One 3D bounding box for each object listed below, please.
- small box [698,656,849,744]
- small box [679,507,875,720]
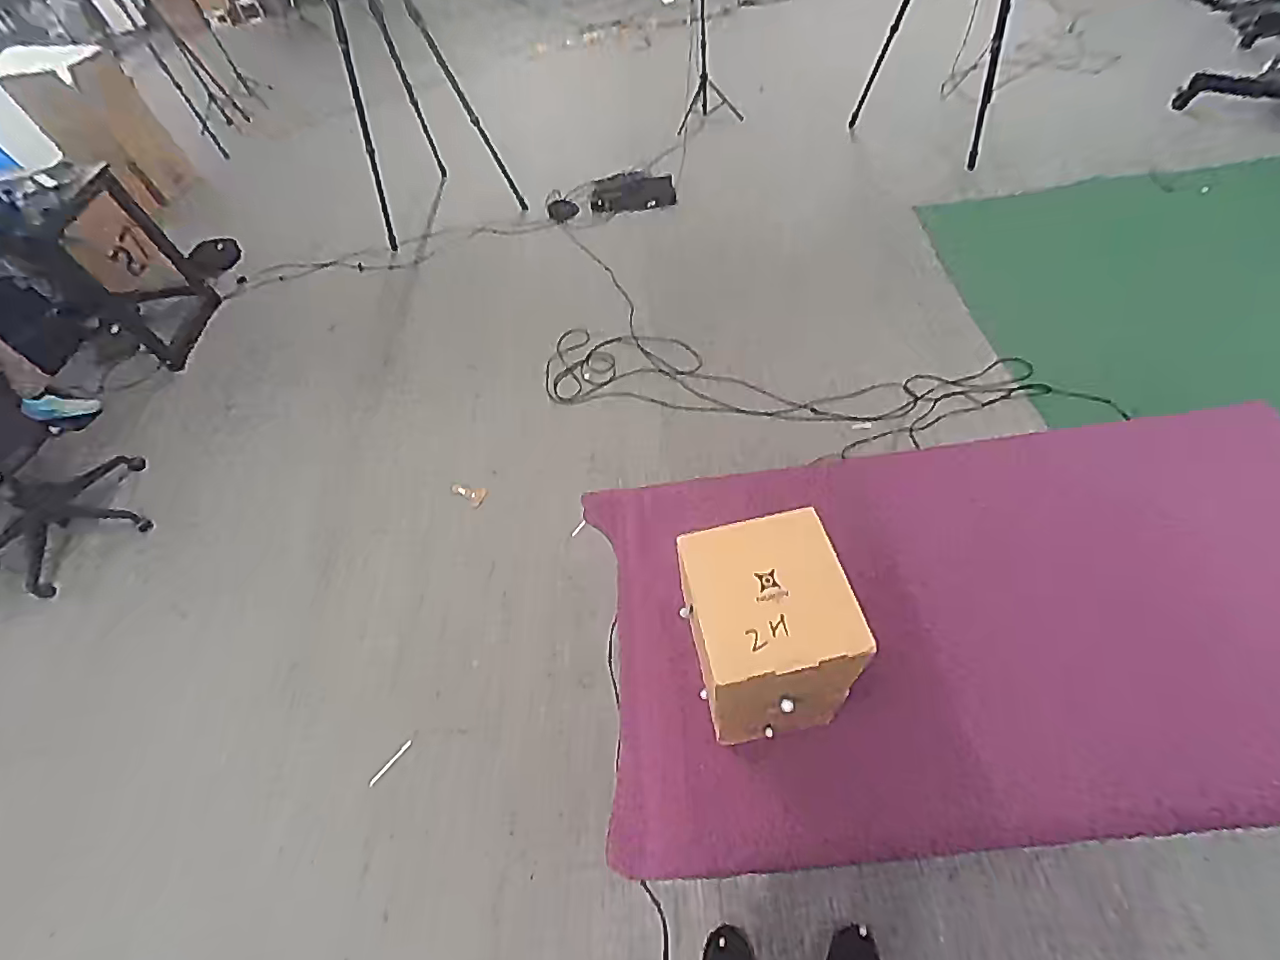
[{"bbox_3d":[0.172,0.255,0.772,0.168,0.176,0.179,-12,54,0],"label":"small box"},{"bbox_3d":[0.145,0.161,0.640,0.168,0.176,0.179,-12,54,0],"label":"small box"}]
